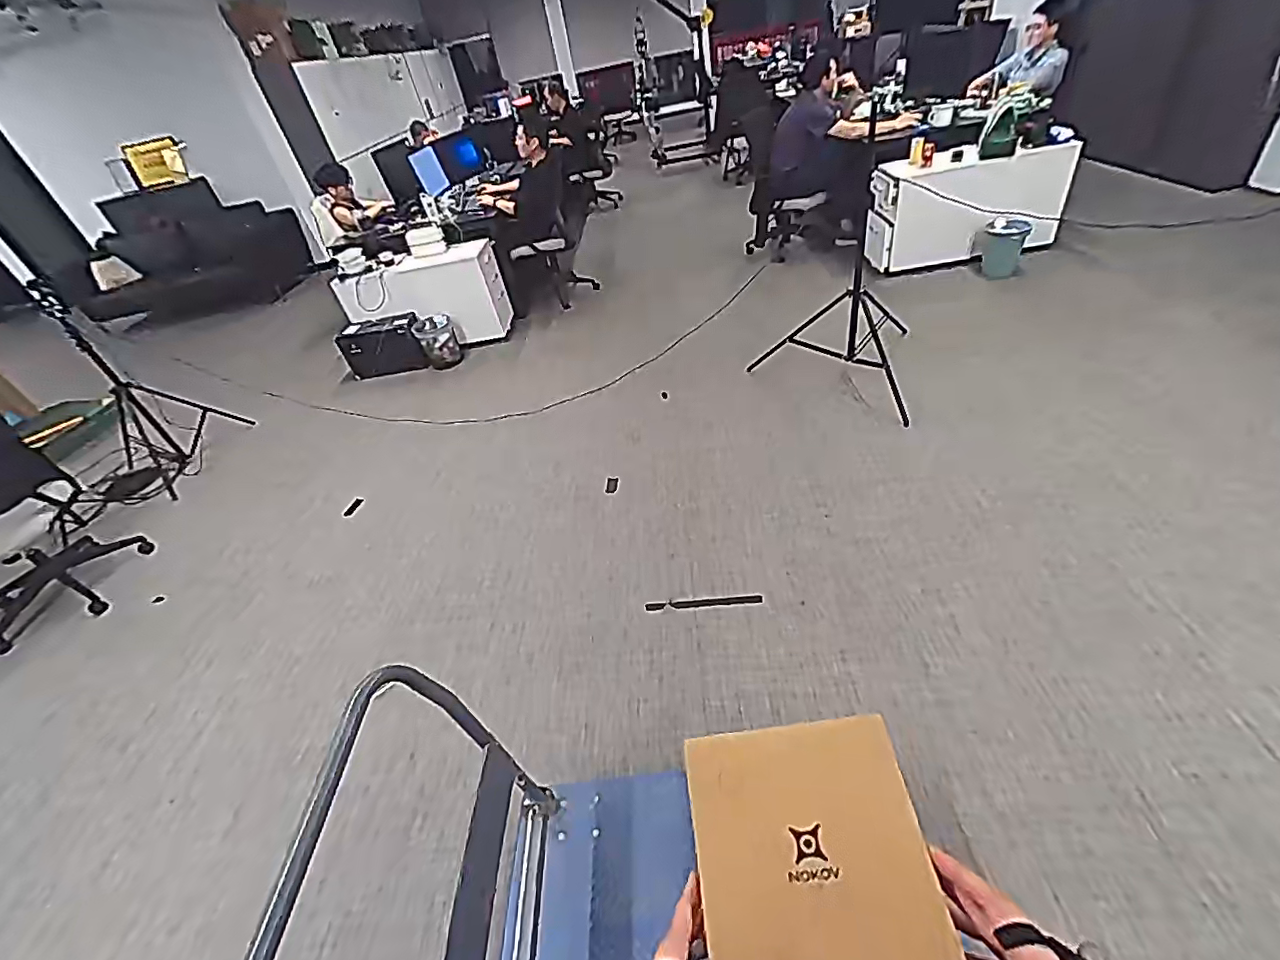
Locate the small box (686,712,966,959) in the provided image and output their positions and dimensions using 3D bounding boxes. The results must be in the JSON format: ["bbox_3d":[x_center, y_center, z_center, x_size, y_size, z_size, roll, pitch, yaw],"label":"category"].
[{"bbox_3d":[0.134,0.316,0.450,0.168,0.176,0.179,-9,50,4],"label":"small box"}]
